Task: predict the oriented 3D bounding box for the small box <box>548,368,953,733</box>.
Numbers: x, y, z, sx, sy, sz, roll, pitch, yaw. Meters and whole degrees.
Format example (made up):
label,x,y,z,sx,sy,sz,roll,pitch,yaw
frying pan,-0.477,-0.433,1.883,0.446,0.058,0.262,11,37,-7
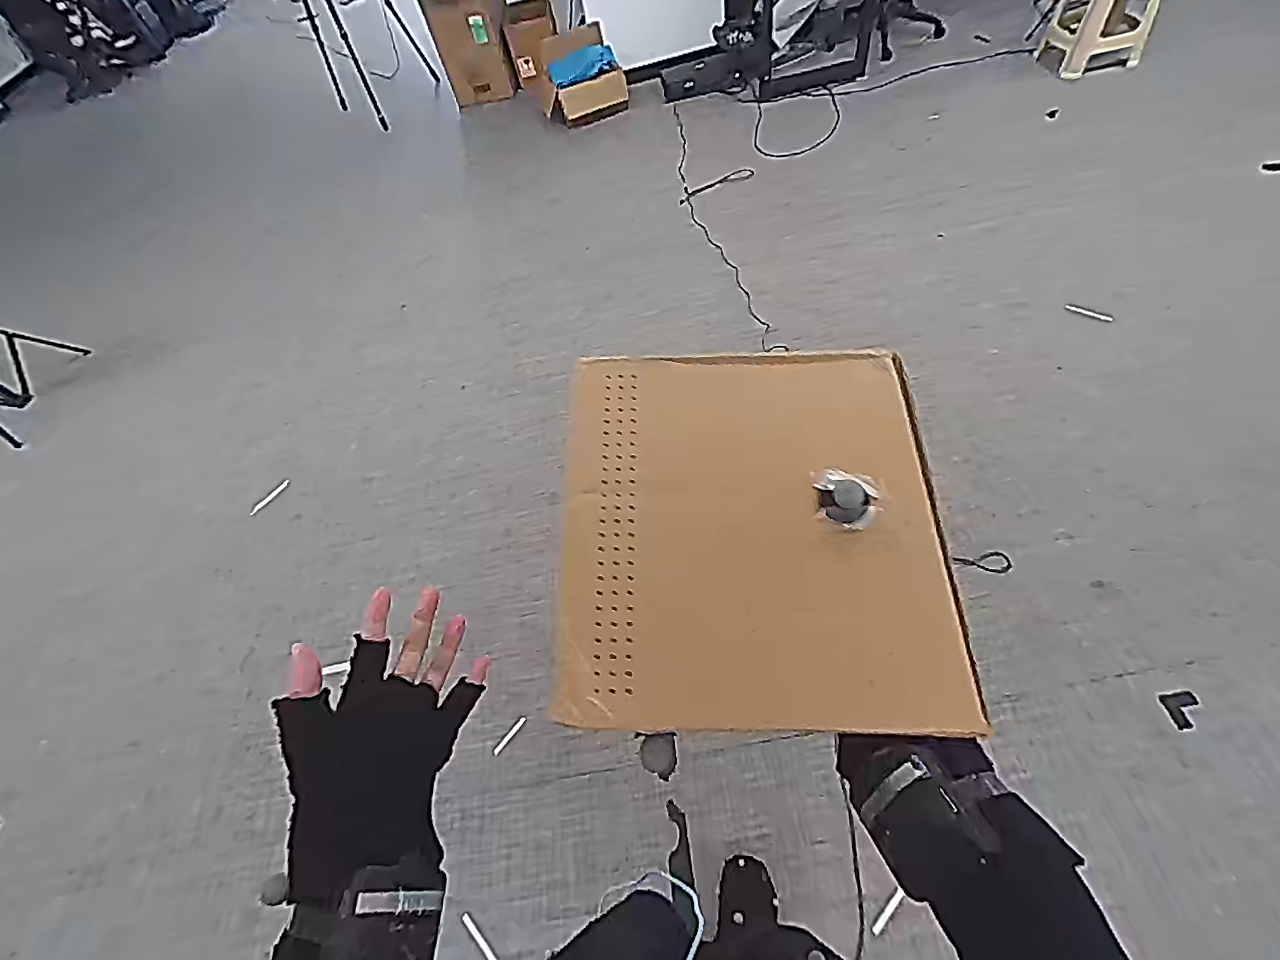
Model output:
label,x,y,z,sx,sy,sz,roll,pitch,yaw
small box,0.046,0.053,0.323,0.176,0.168,0.179,-1,65,5
